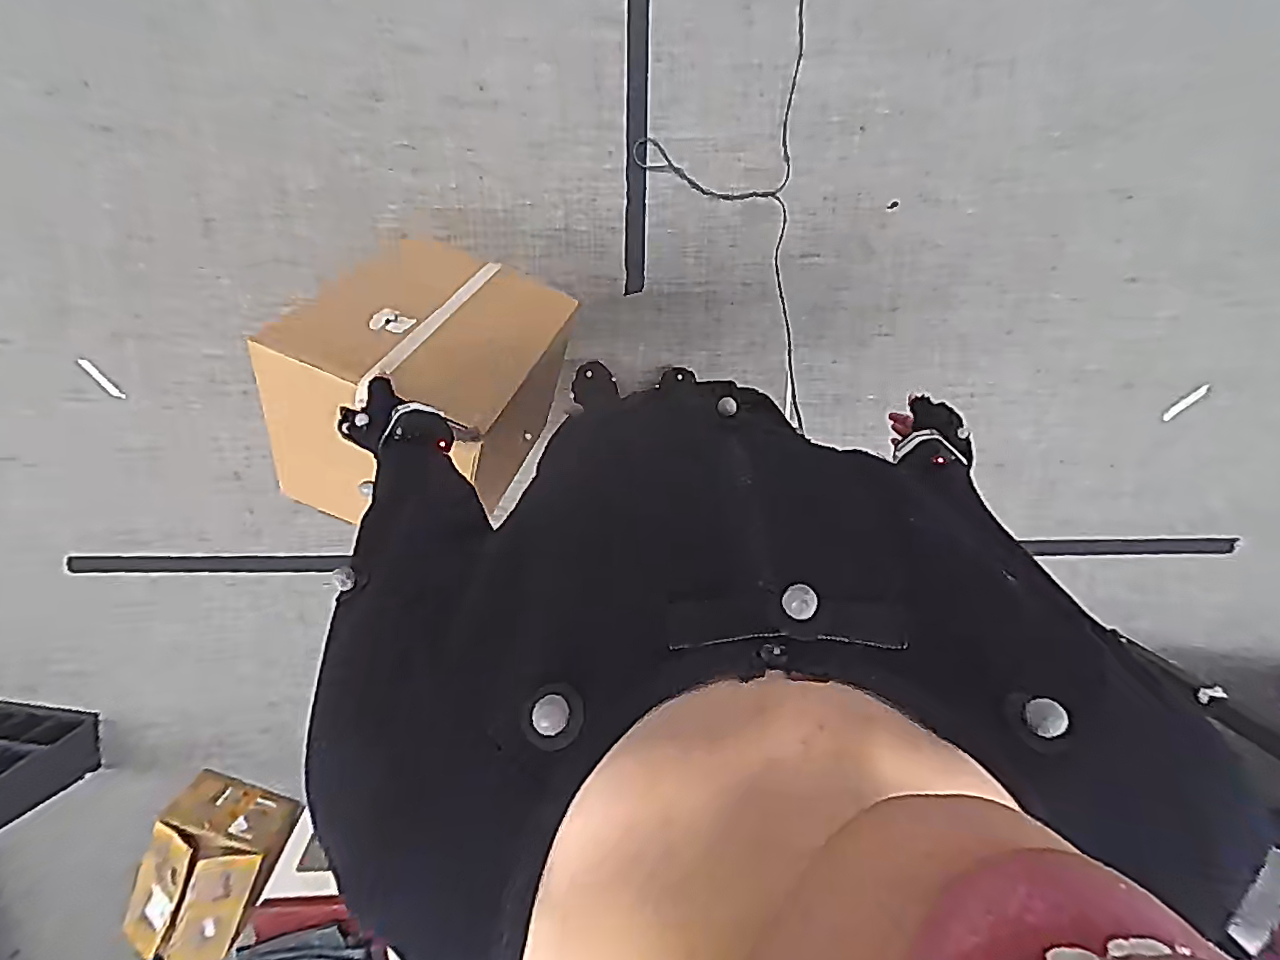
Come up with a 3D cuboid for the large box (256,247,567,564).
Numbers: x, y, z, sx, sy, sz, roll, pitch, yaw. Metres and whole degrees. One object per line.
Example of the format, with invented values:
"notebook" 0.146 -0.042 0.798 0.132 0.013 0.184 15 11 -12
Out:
"large box" -0.358 -0.136 0.944 0.320 0.408 0.320 21 134 -3
